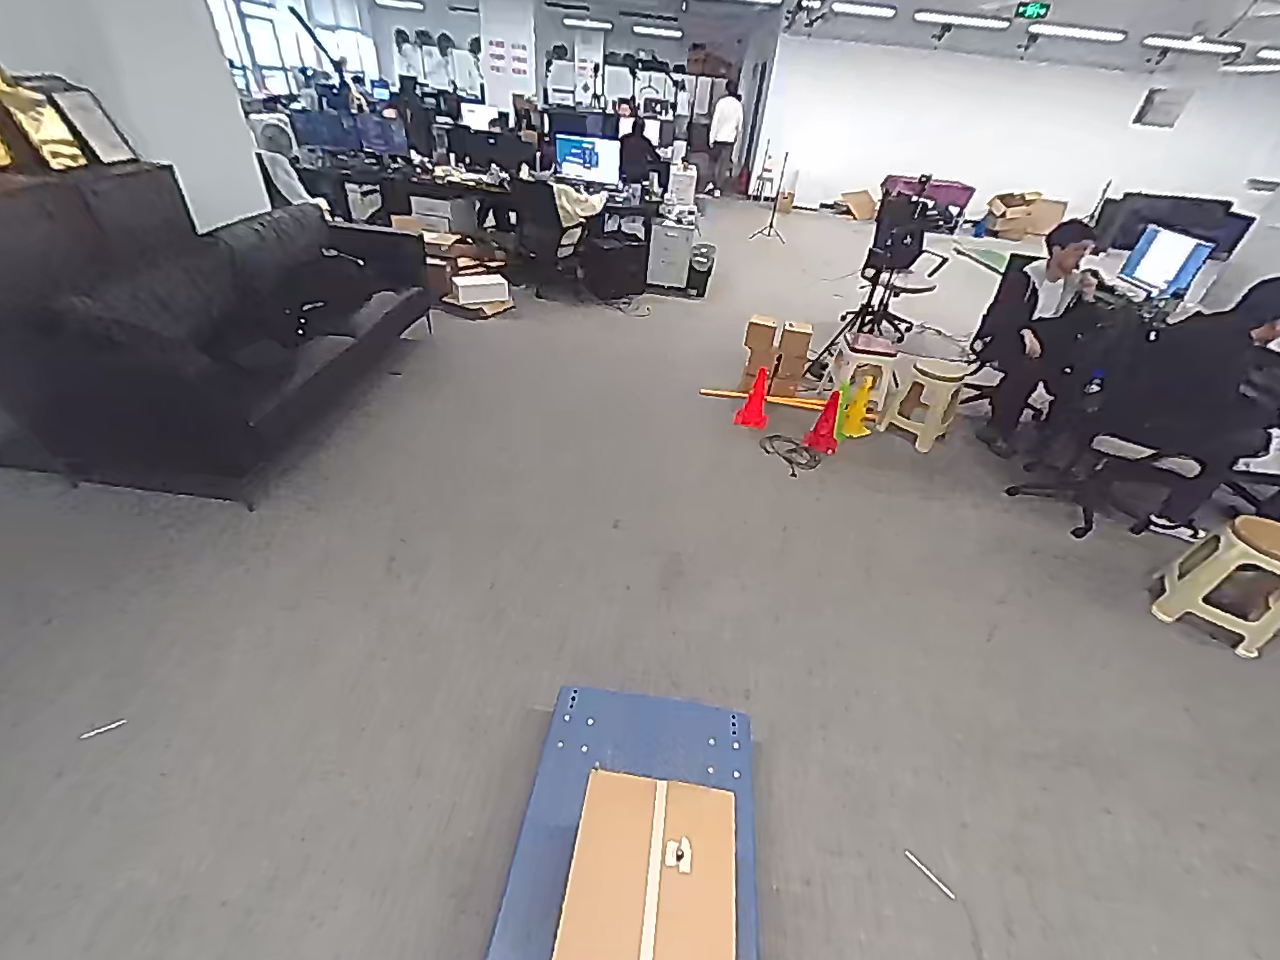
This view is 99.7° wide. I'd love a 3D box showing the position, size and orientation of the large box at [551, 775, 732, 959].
[{"bbox_3d":[0.003,0.888,1.084,0.320,0.320,0.408,8,35,3],"label":"large box"}]
